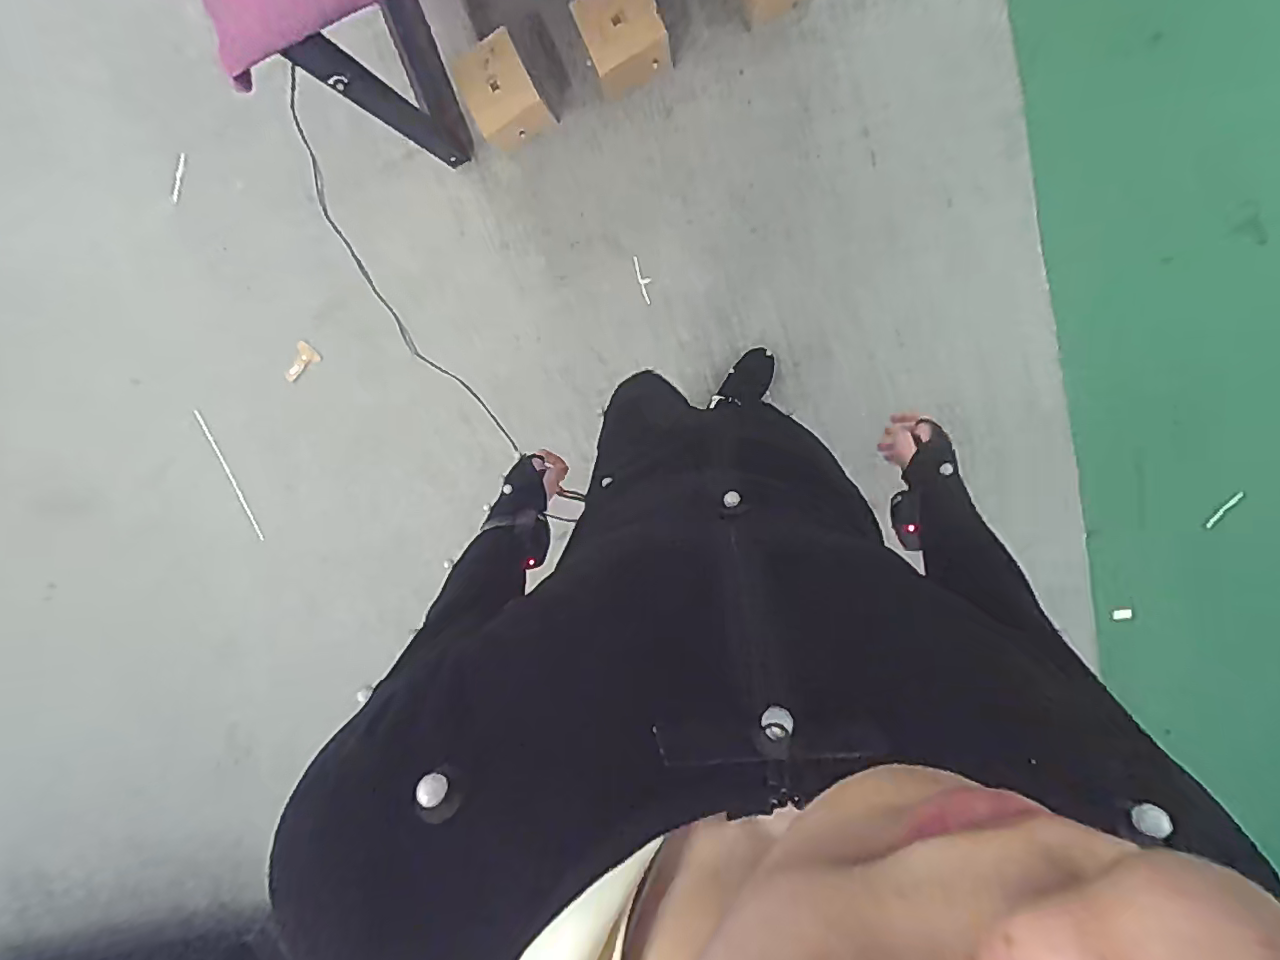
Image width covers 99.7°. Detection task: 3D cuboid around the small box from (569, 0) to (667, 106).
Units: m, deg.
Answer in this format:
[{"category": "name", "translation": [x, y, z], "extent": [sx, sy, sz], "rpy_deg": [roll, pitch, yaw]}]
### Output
[{"category": "small box", "translation": [-0.043, -1.043, 1.285], "extent": [0.179, 0.176, 0.168], "rpy_deg": [-23, 100, 13]}]

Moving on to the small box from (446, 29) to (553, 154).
[{"category": "small box", "translation": [-0.339, -0.947, 1.345], "extent": [0.168, 0.176, 0.179], "rpy_deg": [-25, 100, 12]}]

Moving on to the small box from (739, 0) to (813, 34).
[{"category": "small box", "translation": [0.302, -1.169, 1.210], "extent": [0.168, 0.176, 0.179], "rpy_deg": [-23, 100, 12]}]
